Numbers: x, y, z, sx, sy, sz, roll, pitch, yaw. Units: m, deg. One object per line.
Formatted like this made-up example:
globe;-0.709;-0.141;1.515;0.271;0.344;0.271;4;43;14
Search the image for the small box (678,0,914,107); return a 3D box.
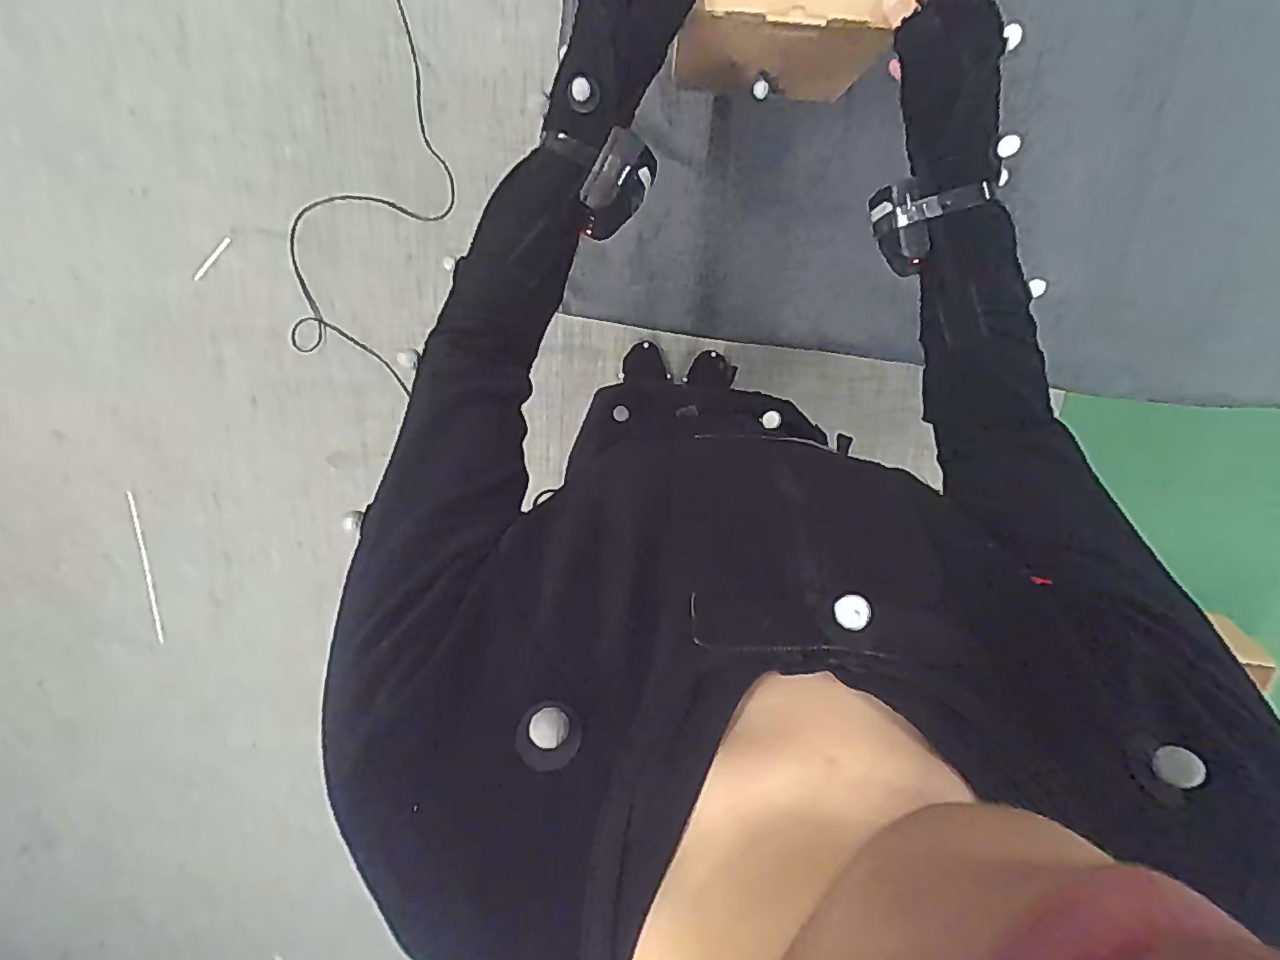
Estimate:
small box;0.121;-0.439;0.442;0.168;0.176;0.179;4;109;0
